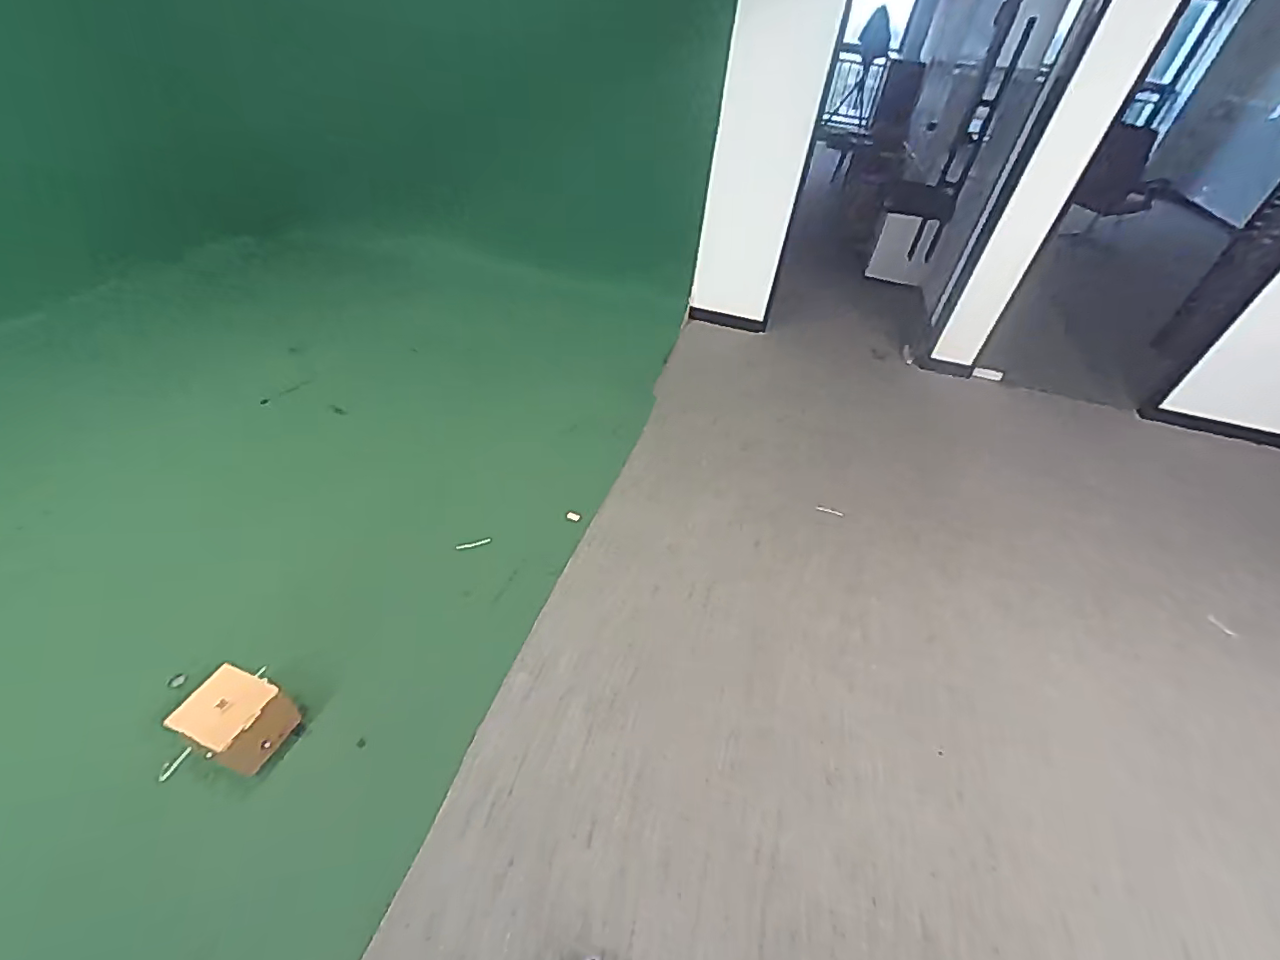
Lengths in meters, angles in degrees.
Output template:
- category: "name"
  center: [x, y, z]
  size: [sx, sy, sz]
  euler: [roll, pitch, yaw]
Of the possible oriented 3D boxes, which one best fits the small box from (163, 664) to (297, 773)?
- category: "small box"
  center: [-1.004, 0.595, 1.341]
  size: [0.179, 0.176, 0.168]
  euler: [18, 44, 11]
